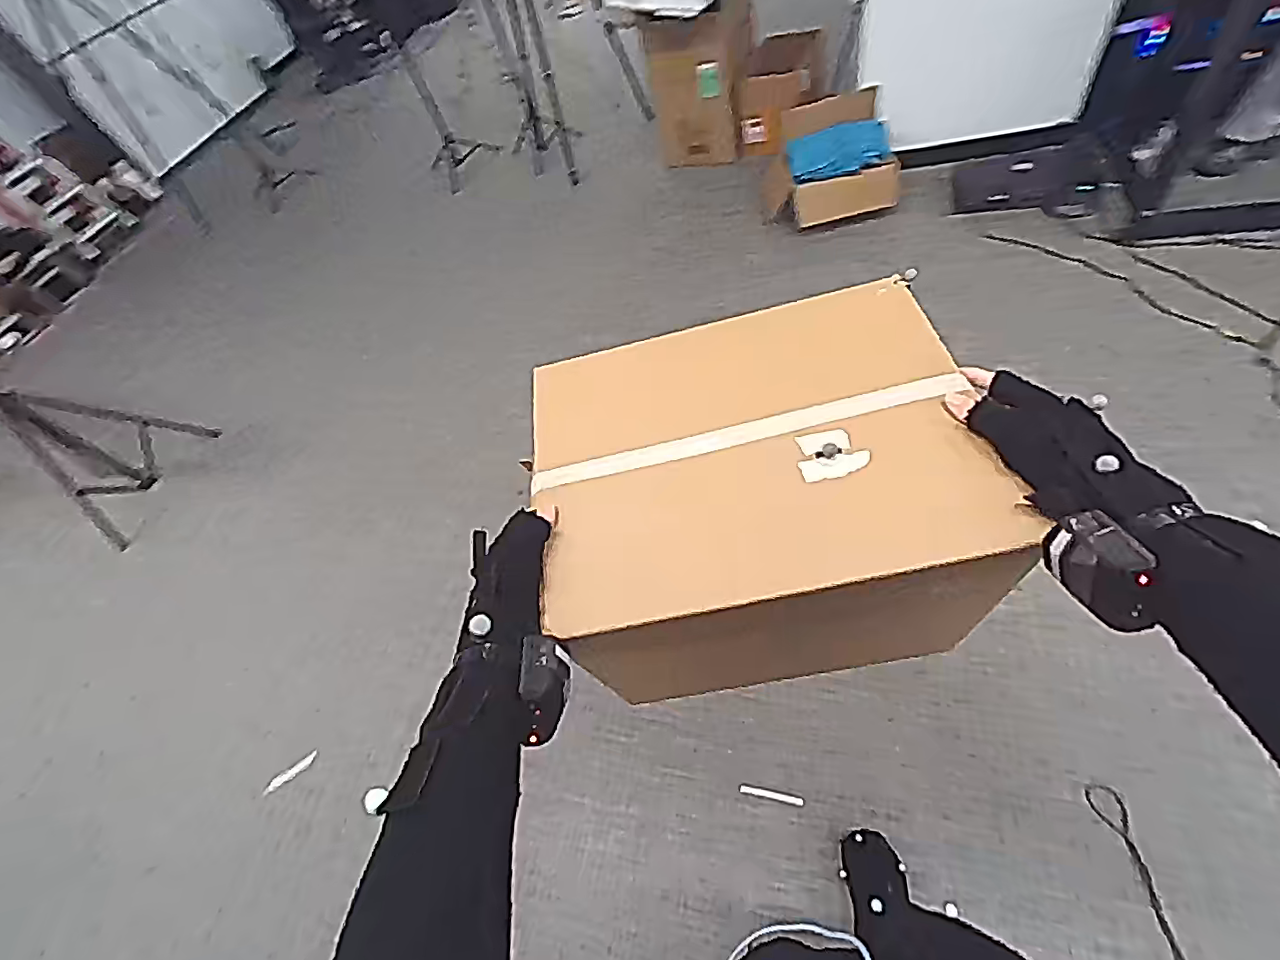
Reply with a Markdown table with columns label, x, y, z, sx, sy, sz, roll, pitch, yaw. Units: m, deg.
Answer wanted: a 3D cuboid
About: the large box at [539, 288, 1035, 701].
| label | x | y | z | sx | sy | sz | roll | pitch | yaw |
| --- | --- | --- | --- | --- | --- | --- | --- | --- | --- |
| large box | 0.127 | 0.040 | 0.643 | 0.408 | 0.320 | 0.320 | -13 | 57 | 5 |
